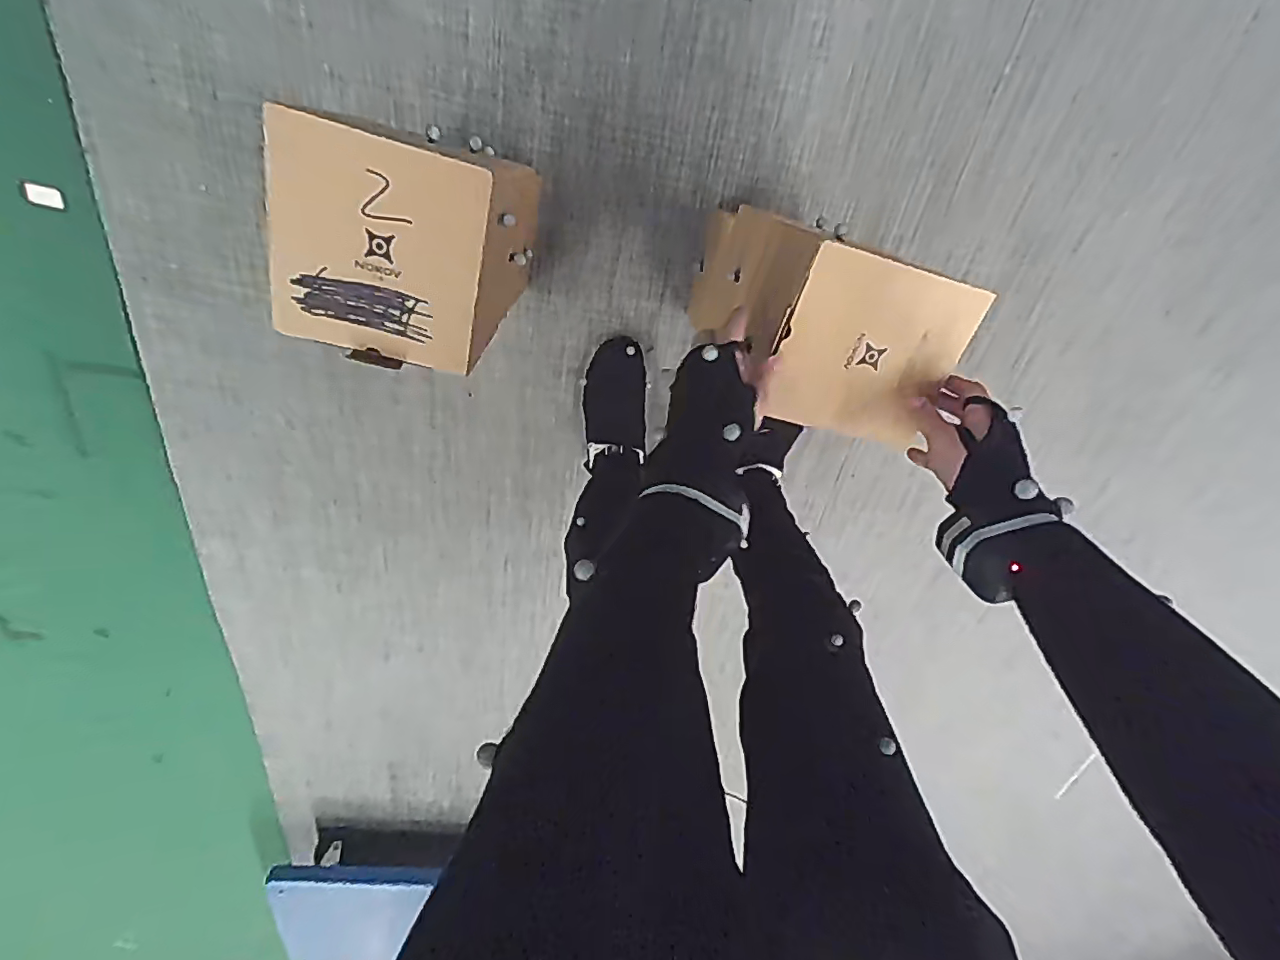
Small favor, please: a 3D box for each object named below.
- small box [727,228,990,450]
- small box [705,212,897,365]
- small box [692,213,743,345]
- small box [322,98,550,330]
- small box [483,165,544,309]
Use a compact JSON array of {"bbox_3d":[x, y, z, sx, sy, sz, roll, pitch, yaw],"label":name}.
[{"bbox_3d":[0.209,-0.158,0.579,0.179,0.176,0.168,13,119,-10],"label":"small box"},{"bbox_3d":[0.195,-0.241,0.720,0.168,0.176,0.179,14,118,-10],"label":"small box"},{"bbox_3d":[0.186,-0.313,0.867,0.168,0.176,0.179,9,119,-9],"label":"small box"},{"bbox_3d":[-0.234,-0.319,0.665,0.168,0.176,0.179,-39,113,20],"label":"small box"},{"bbox_3d":[-0.243,-0.378,0.807,0.168,0.176,0.179,12,118,-9],"label":"small box"}]
